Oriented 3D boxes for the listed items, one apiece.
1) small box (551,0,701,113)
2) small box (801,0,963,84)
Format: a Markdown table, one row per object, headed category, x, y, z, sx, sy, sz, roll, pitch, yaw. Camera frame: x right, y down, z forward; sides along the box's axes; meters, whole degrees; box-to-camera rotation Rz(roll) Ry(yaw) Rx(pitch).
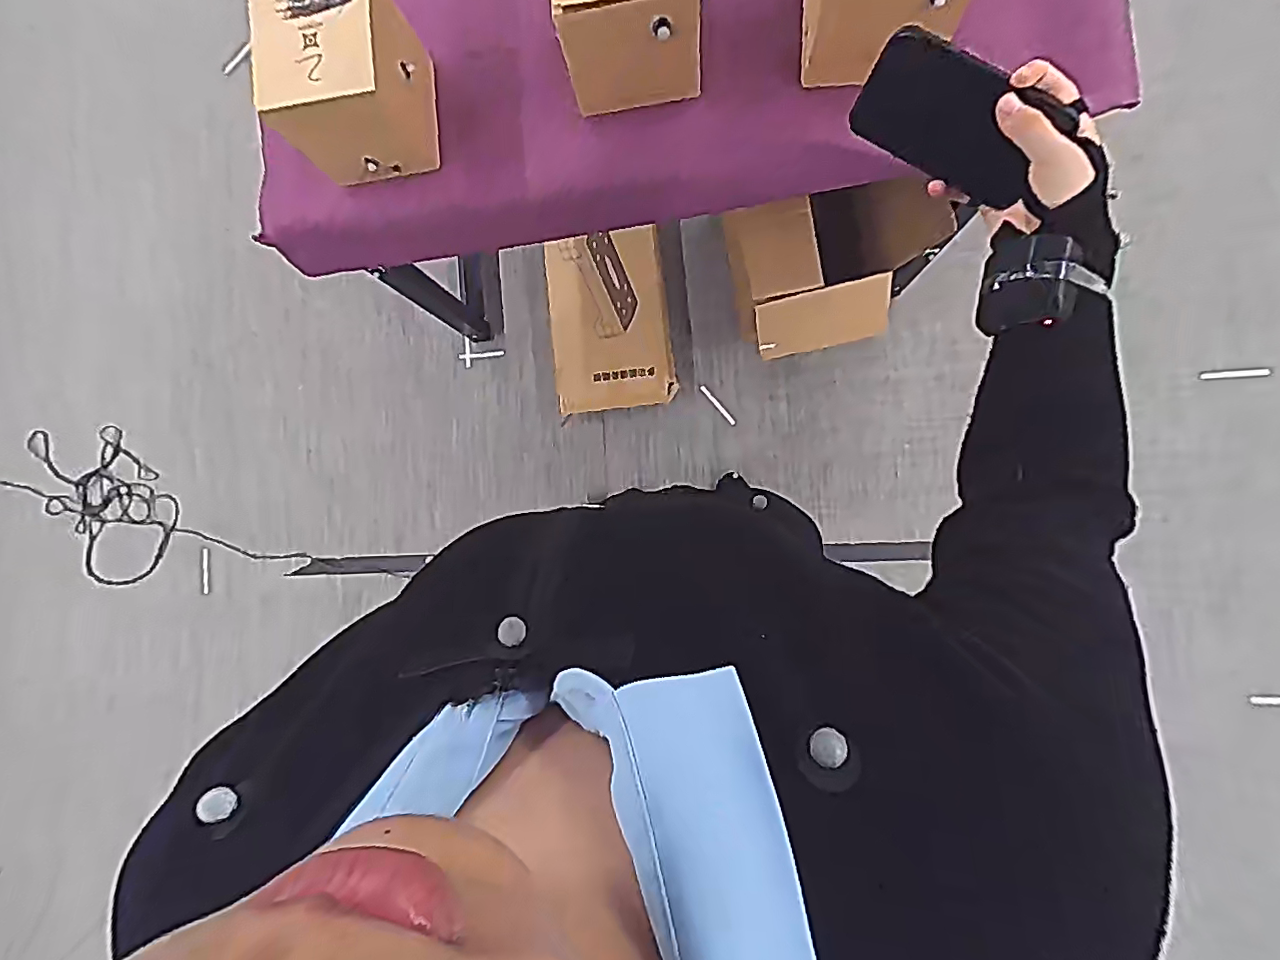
| category | x | y | z | sx | sy | sz | roll | pitch | yaw |
| --- | --- | --- | --- | --- | --- | --- | --- | --- | --- |
| small box | -0.015 | -0.625 | 0.706 | 0.179 | 0.176 | 0.168 | -6 | 85 | 7 |
| small box | 0.302 | -0.631 | 0.671 | 0.179 | 0.176 | 0.168 | 2 | 88 | 6 |
